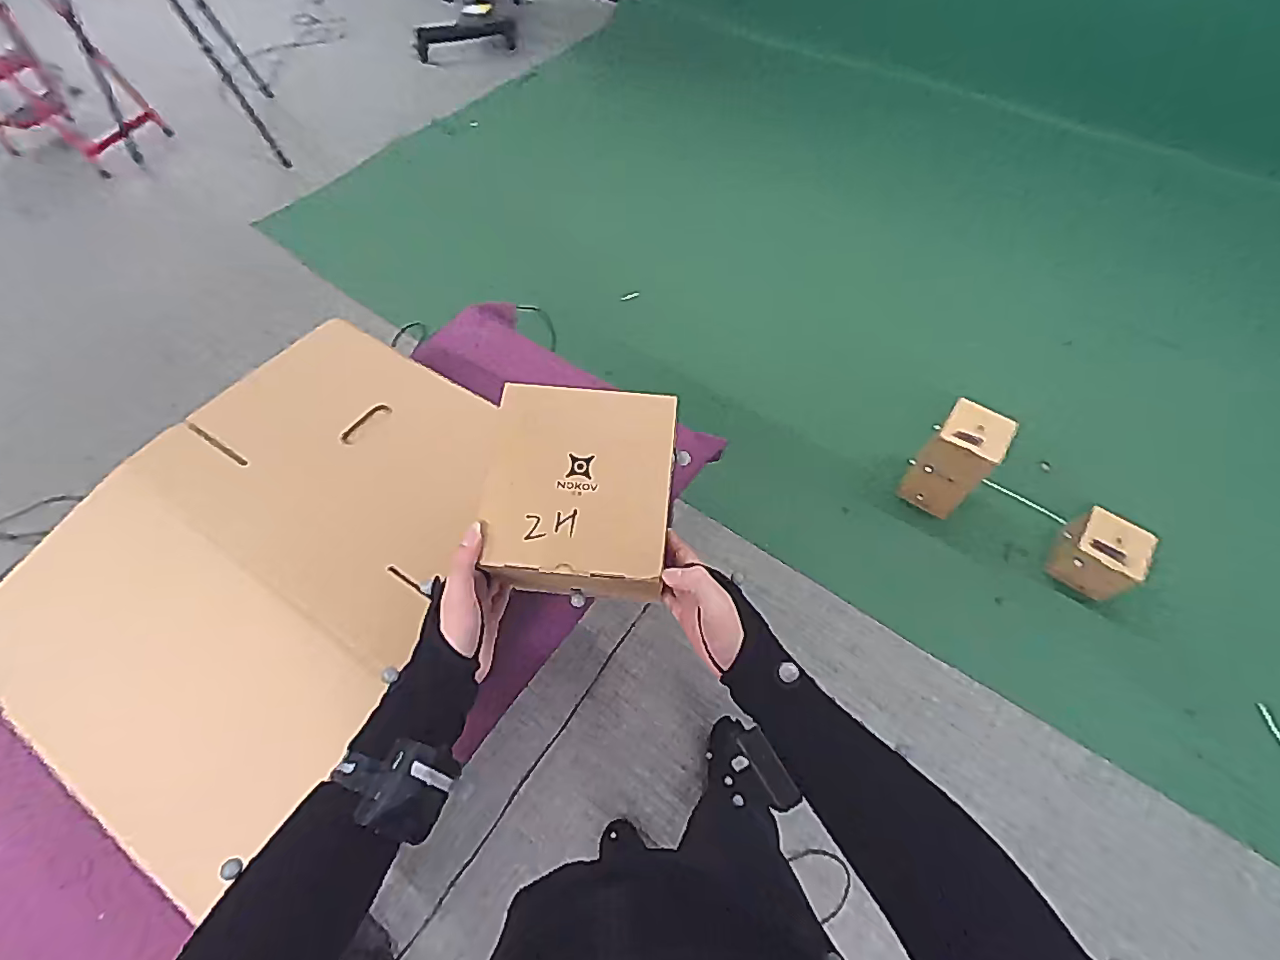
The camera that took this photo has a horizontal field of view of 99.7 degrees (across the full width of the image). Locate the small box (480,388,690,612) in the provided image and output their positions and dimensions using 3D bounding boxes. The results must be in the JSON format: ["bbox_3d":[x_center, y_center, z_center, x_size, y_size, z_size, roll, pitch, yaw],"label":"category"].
[{"bbox_3d":[-0.043,0.029,0.553,0.168,0.176,0.179,6,71,4],"label":"small box"}]

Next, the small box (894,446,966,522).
[{"bbox_3d":[0.949,0.000,1.735,0.168,0.176,0.179,32,65,18],"label":"small box"}]

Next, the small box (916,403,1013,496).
[{"bbox_3d":[0.947,-0.085,1.595,0.168,0.176,0.179,32,64,18],"label":"small box"}]
